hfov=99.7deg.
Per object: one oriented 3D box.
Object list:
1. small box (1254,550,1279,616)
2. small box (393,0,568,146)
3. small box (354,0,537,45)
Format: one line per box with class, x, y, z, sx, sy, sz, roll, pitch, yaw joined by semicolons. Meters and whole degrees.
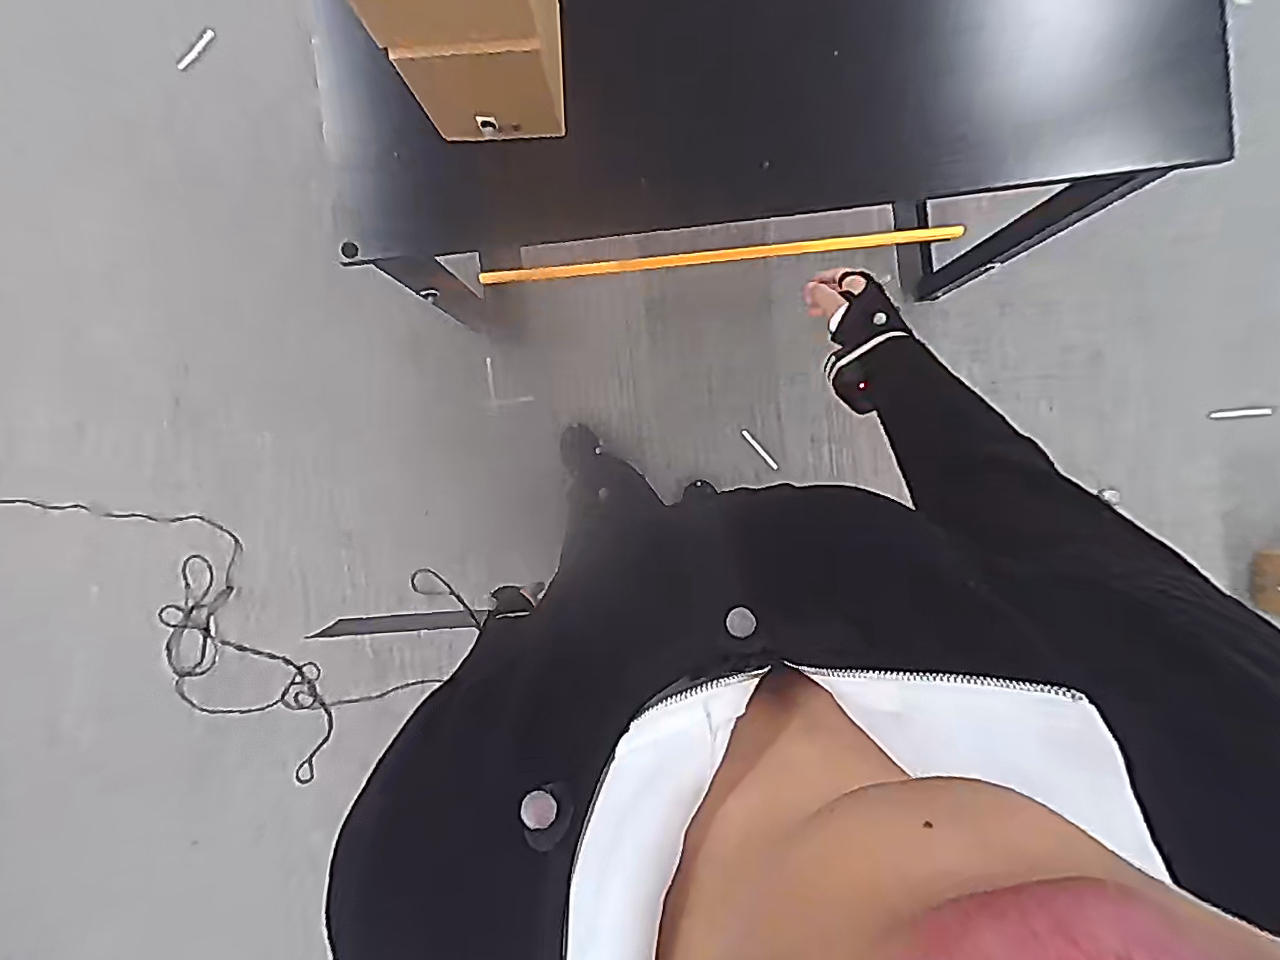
small box;1.736;0.272;1.375;0.179;0.176;0.168;-4;93;3
small box;-0.184;-0.543;0.655;0.168;0.176;0.179;-3;94;3
small box;-0.194;-0.541;0.490;0.179;0.176;0.168;-3;92;3
